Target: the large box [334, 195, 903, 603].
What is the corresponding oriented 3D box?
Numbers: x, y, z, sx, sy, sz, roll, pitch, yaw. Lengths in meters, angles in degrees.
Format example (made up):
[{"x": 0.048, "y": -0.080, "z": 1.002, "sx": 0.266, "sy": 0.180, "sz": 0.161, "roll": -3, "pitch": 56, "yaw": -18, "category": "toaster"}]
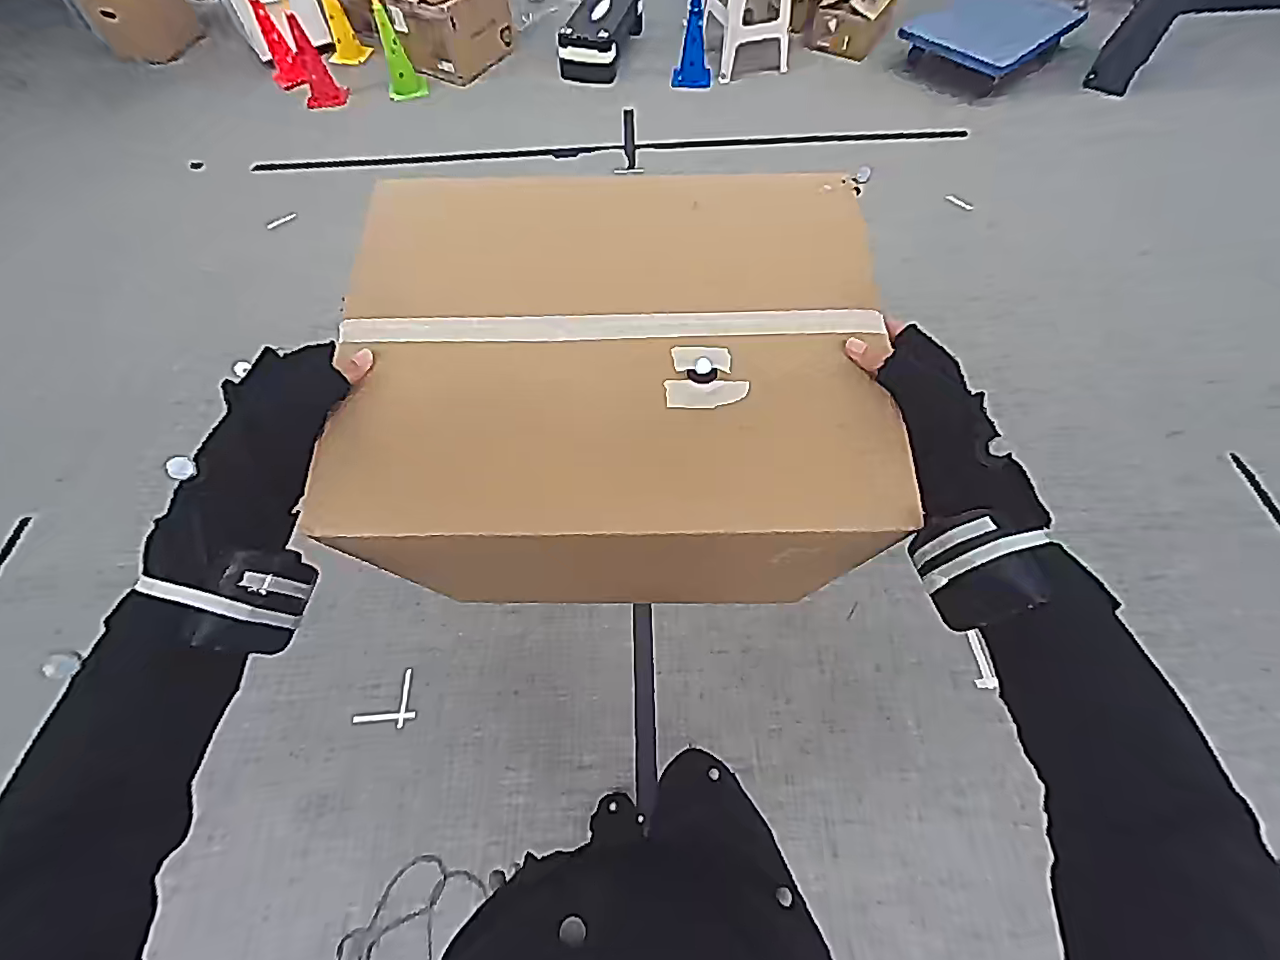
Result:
[{"x": -0.017, "y": -0.054, "z": 0.564, "sx": 0.408, "sy": 0.320, "sz": 0.320, "roll": 0, "pitch": 69, "yaw": 0, "category": "large box"}]
